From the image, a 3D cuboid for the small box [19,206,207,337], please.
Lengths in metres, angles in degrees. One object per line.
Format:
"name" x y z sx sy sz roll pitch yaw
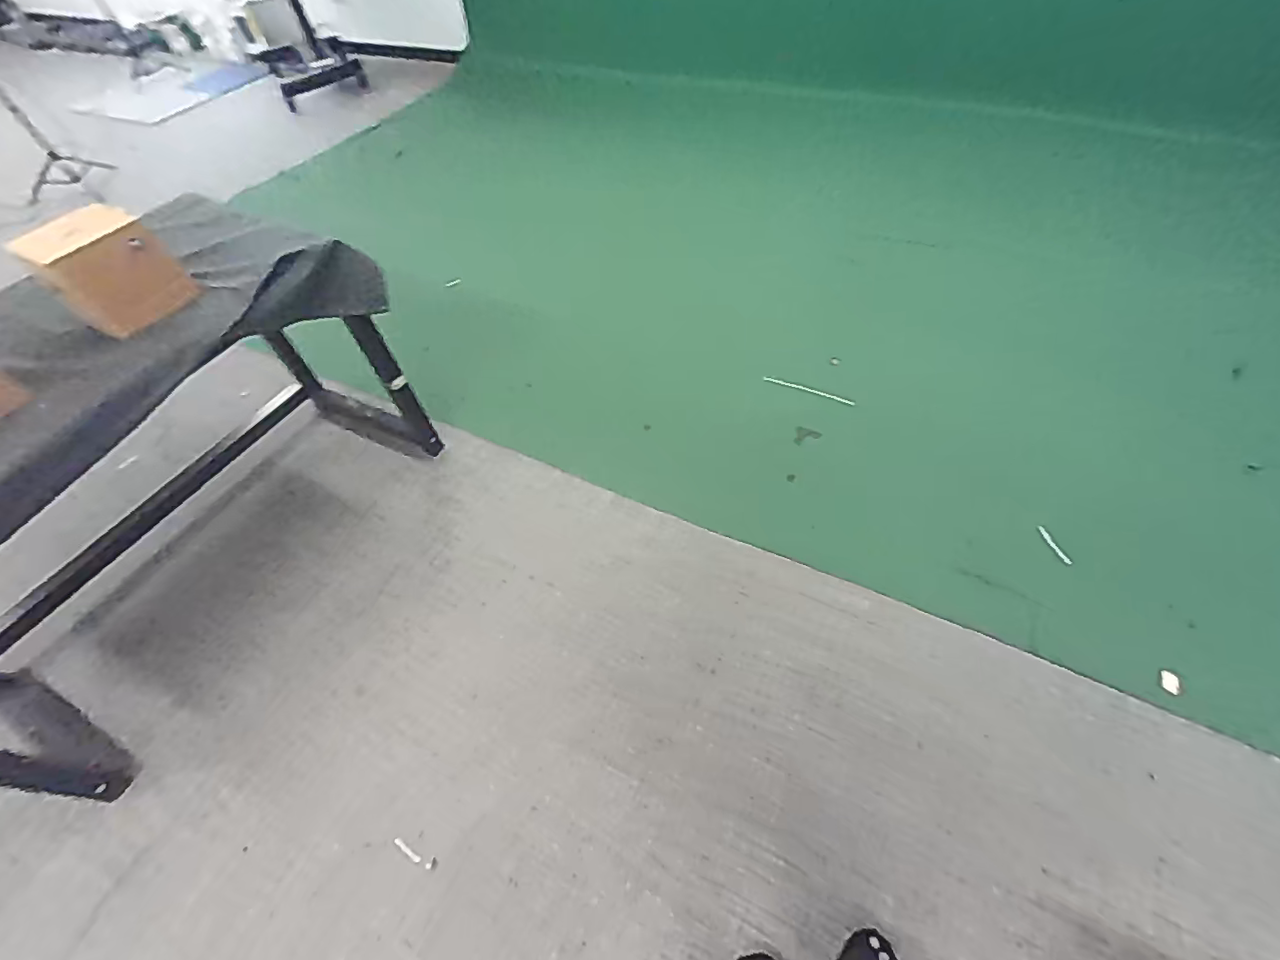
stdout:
"small box" -1.037 -0.413 1.080 0.168 0.176 0.179 22 58 21
